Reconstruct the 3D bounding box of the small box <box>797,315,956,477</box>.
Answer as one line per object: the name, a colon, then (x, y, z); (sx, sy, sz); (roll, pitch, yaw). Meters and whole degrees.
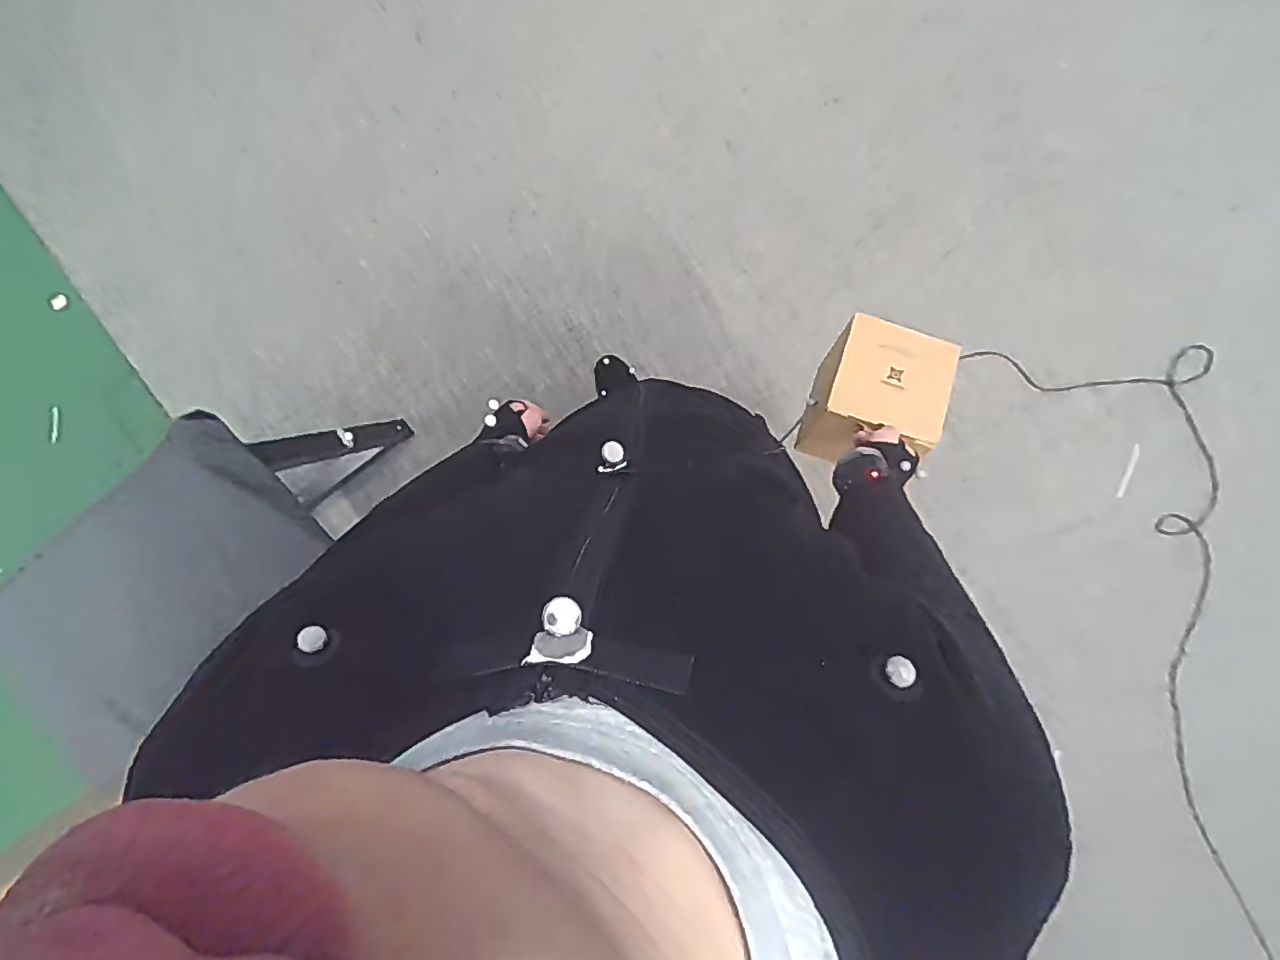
small box: (0.367, -0.124, 0.867); (0.168, 0.176, 0.179); (20, 72, 4)
